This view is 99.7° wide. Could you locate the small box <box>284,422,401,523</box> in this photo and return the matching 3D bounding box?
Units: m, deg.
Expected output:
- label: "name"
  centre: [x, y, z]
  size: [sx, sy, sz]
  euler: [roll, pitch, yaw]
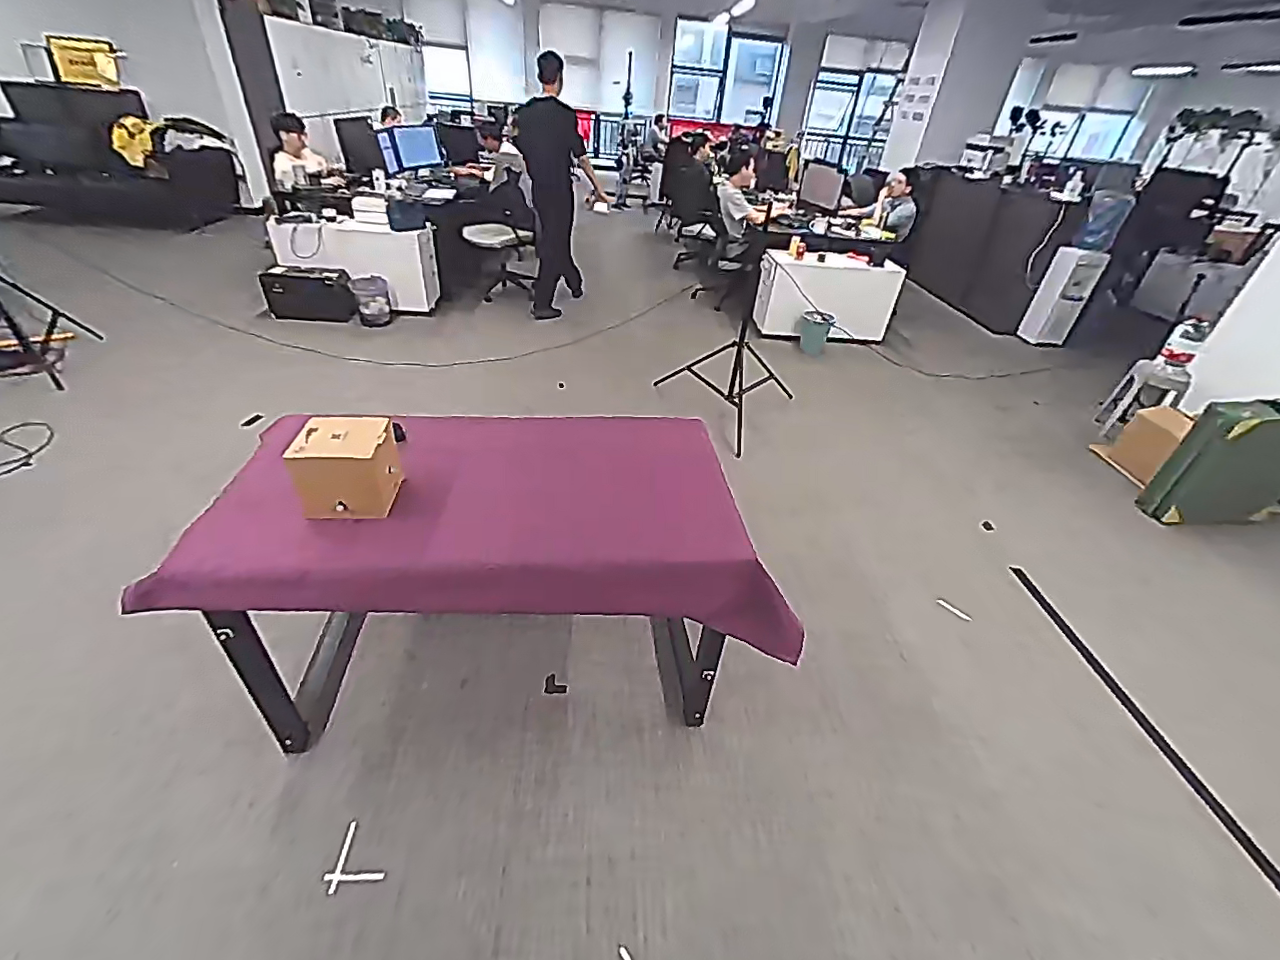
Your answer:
- label: "small box"
  centre: [-0.659, -0.016, 1.226]
  size: [0.179, 0.176, 0.168]
  euler: [1, 35, -8]
